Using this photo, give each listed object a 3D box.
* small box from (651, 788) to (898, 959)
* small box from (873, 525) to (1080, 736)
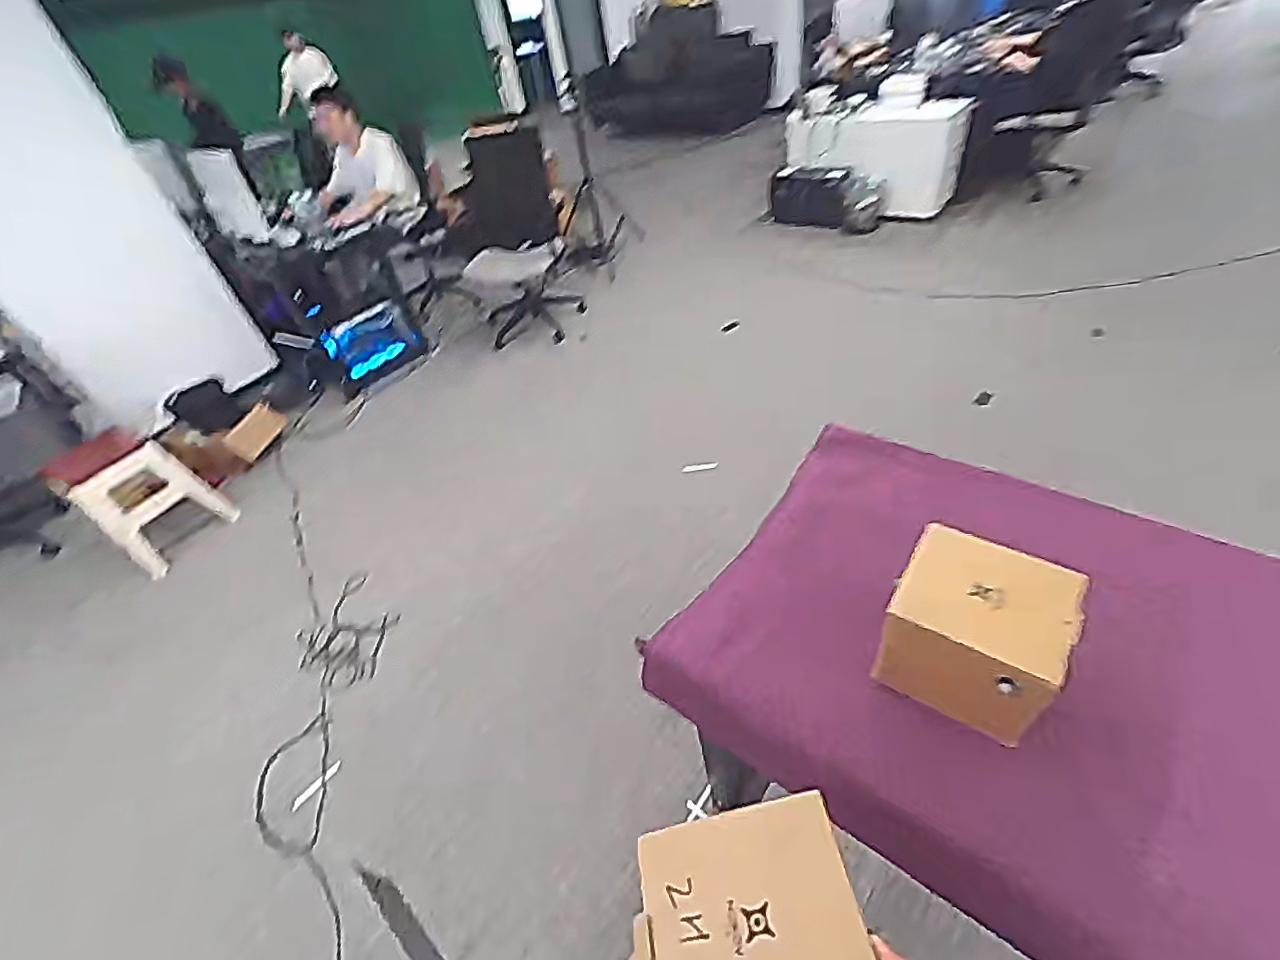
[{"bbox_3d":[0.122,0.402,0.463,0.179,0.176,0.168,-19,33,8],"label":"small box"},{"bbox_3d":[0.421,0.194,0.700,0.179,0.176,0.168,22,52,31],"label":"small box"}]
